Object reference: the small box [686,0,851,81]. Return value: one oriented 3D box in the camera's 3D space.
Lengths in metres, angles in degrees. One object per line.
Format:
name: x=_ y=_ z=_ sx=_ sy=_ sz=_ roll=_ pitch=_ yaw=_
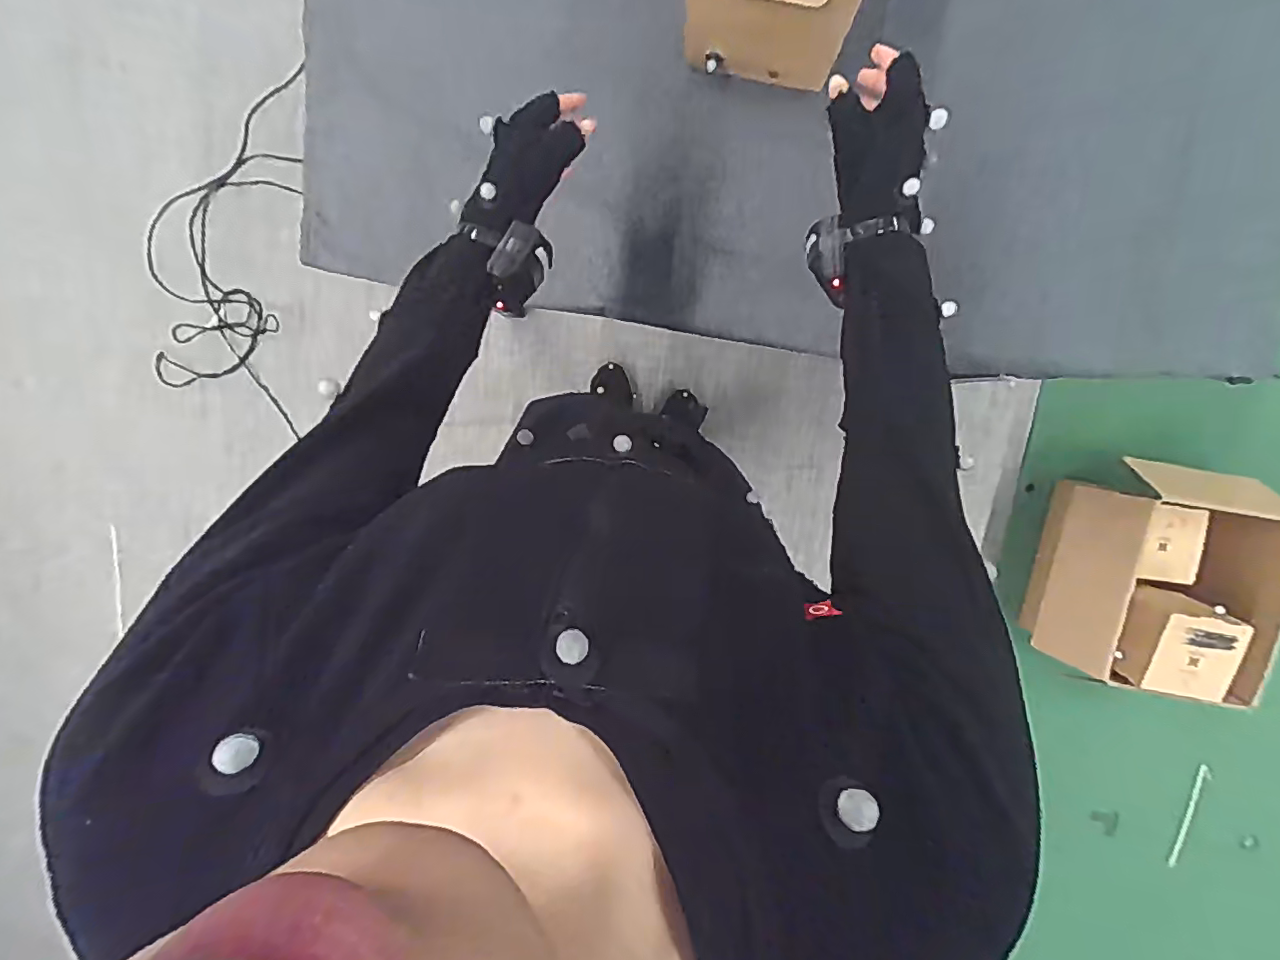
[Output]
small box: x=0.144 y=-0.554 z=0.552 sx=0.168 sy=0.176 sz=0.179 roll=12 pitch=99 yaw=2
